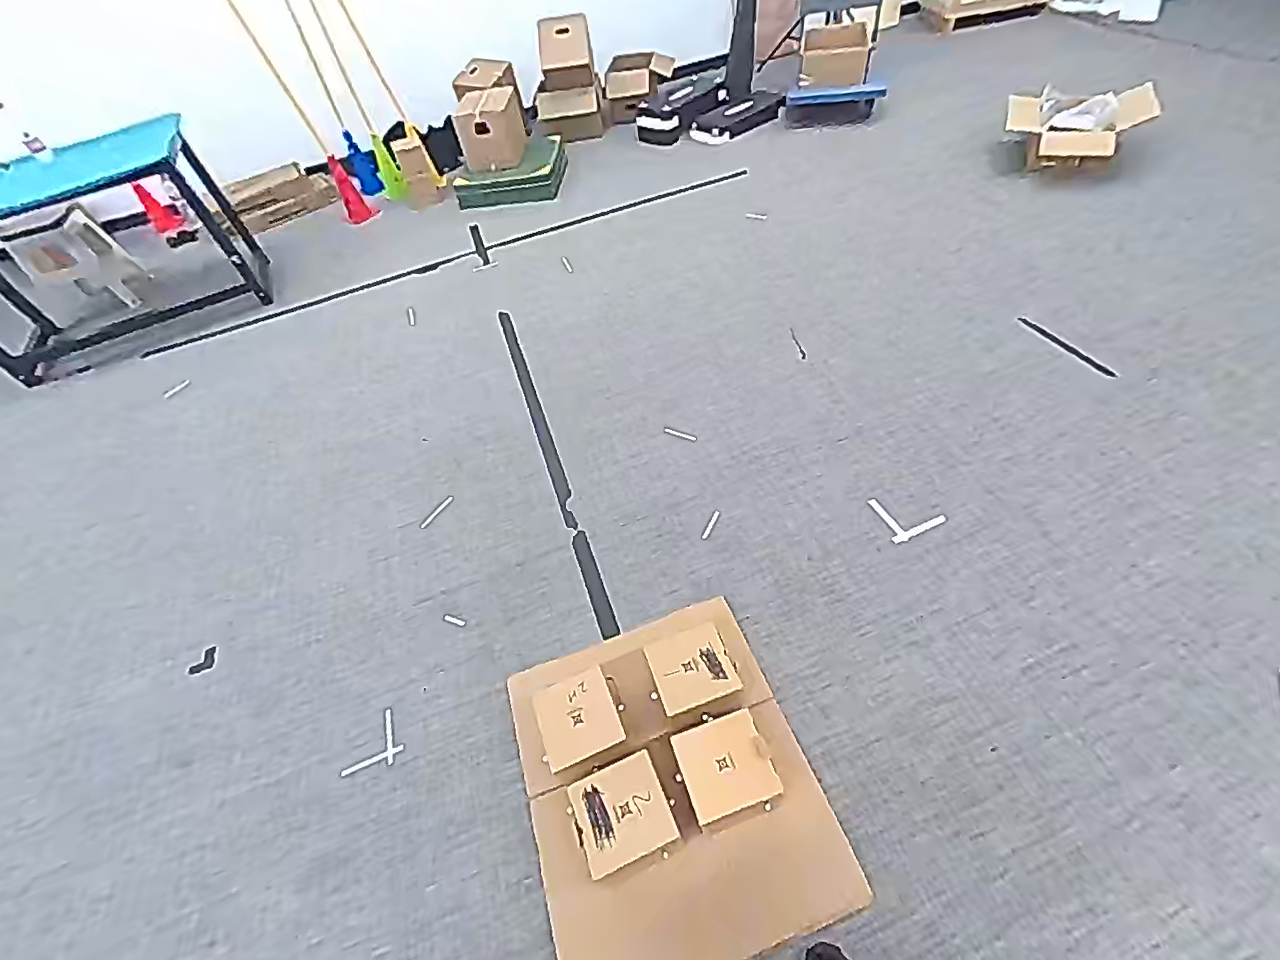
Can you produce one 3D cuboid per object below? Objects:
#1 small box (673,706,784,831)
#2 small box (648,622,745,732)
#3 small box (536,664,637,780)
[{"bbox_3d":[0.180,0.604,1.125,0.179,0.176,0.168,-17,50,-6],"label":"small box"},{"bbox_3d":[0.130,0.461,1.256,0.179,0.176,0.168,-18,51,-5],"label":"small box"},{"bbox_3d":[-0.117,0.553,1.222,0.168,0.176,0.179,-21,51,-8],"label":"small box"}]
